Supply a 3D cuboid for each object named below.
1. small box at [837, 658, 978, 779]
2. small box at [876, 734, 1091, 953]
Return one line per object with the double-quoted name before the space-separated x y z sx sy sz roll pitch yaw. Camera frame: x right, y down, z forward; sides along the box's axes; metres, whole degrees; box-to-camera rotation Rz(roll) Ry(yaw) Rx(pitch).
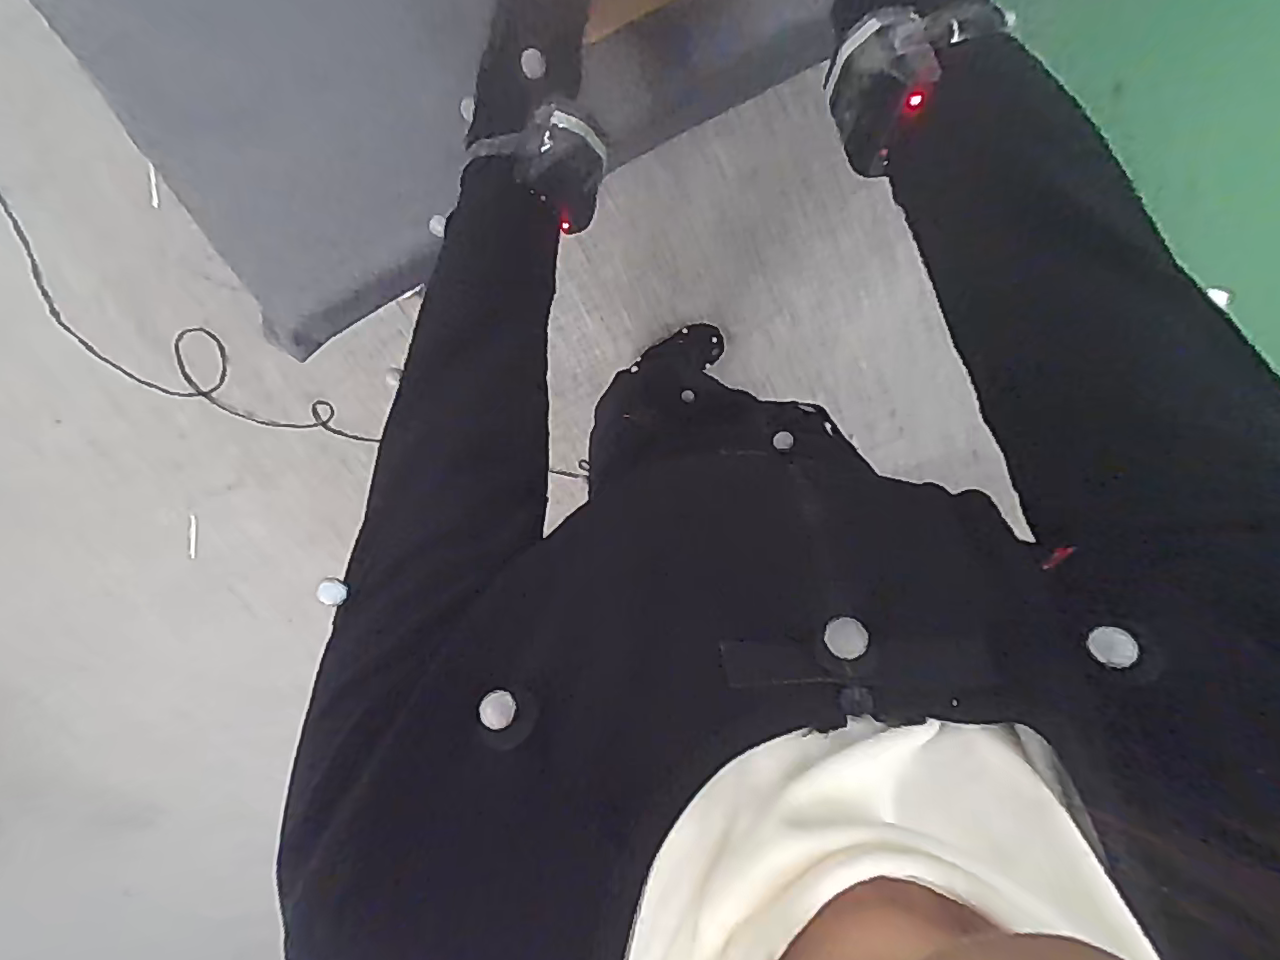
"small box" 0.461 0.439 0.909 0.168 0.176 0.179 -30 106 10
"small box" 0.466 0.499 0.756 0.168 0.176 0.179 -31 109 11
